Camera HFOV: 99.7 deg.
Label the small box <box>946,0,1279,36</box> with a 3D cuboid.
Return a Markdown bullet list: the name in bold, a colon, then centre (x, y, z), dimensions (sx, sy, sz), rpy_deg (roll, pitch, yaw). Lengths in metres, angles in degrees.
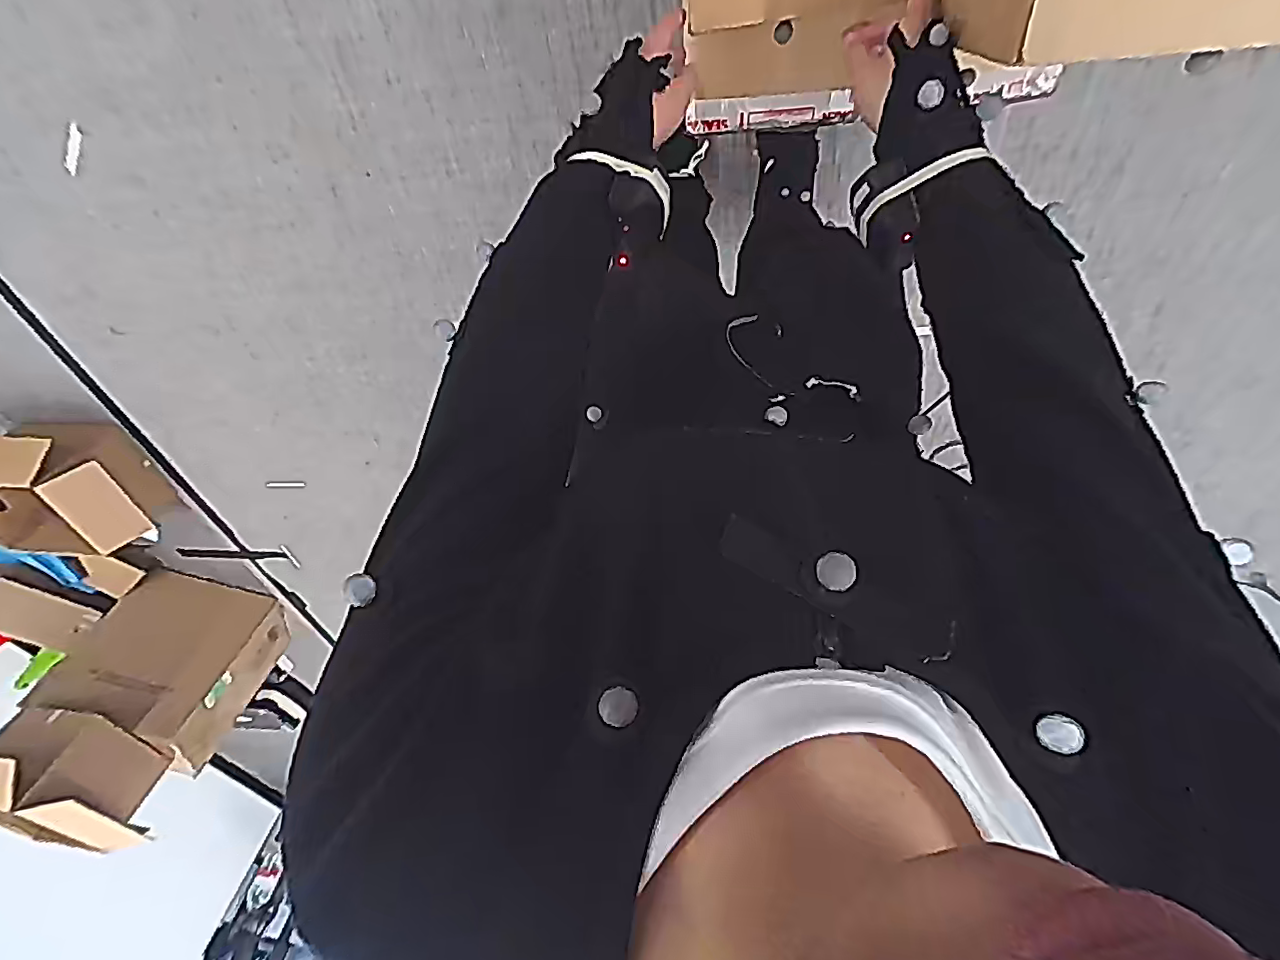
- **small box**: centre (0.296, -0.356, 0.284), dimensions (0.179, 0.176, 0.168), rpy_deg (0, 134, 8)
